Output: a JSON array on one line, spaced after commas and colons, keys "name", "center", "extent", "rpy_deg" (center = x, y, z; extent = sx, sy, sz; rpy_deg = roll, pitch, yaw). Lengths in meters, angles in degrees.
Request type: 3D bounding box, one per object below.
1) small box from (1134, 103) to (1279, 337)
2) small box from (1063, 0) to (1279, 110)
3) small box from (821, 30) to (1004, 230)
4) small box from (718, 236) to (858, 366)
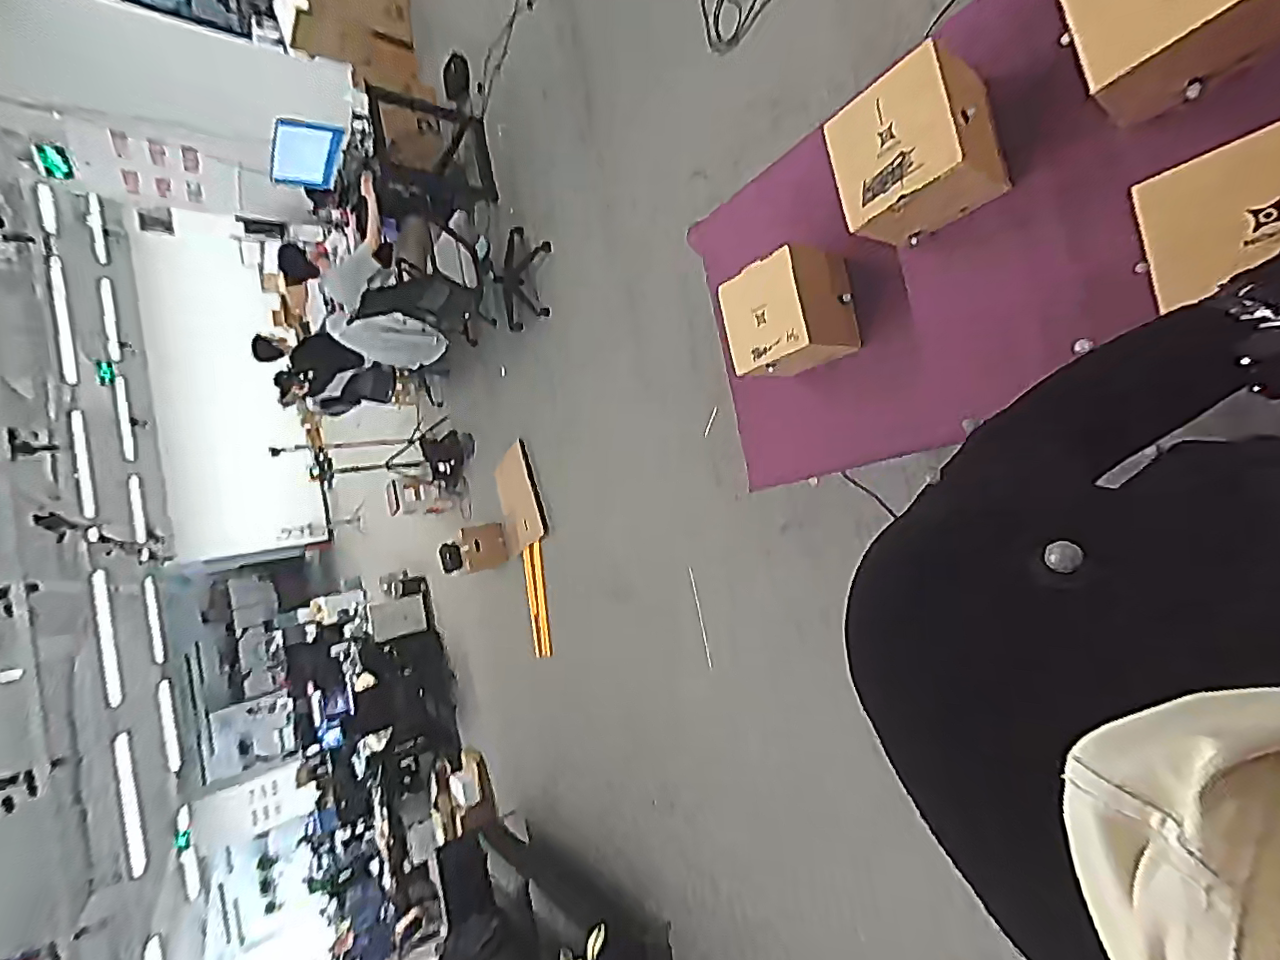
[{"name": "small box", "center": [0.636, -0.257, 0.543], "extent": [0.168, 0.176, 0.179], "rpy_deg": [-14, 85, 53]}, {"name": "small box", "center": [0.572, -0.541, 0.572], "extent": [0.168, 0.176, 0.179], "rpy_deg": [-19, 84, 53]}, {"name": "small box", "center": [0.402, -0.491, 0.796], "extent": [0.168, 0.176, 0.179], "rpy_deg": [-17, 83, 52]}, {"name": "small box", "center": [0.272, -0.316, 0.996], "extent": [0.168, 0.176, 0.179], "rpy_deg": [-15, 85, 54]}]
